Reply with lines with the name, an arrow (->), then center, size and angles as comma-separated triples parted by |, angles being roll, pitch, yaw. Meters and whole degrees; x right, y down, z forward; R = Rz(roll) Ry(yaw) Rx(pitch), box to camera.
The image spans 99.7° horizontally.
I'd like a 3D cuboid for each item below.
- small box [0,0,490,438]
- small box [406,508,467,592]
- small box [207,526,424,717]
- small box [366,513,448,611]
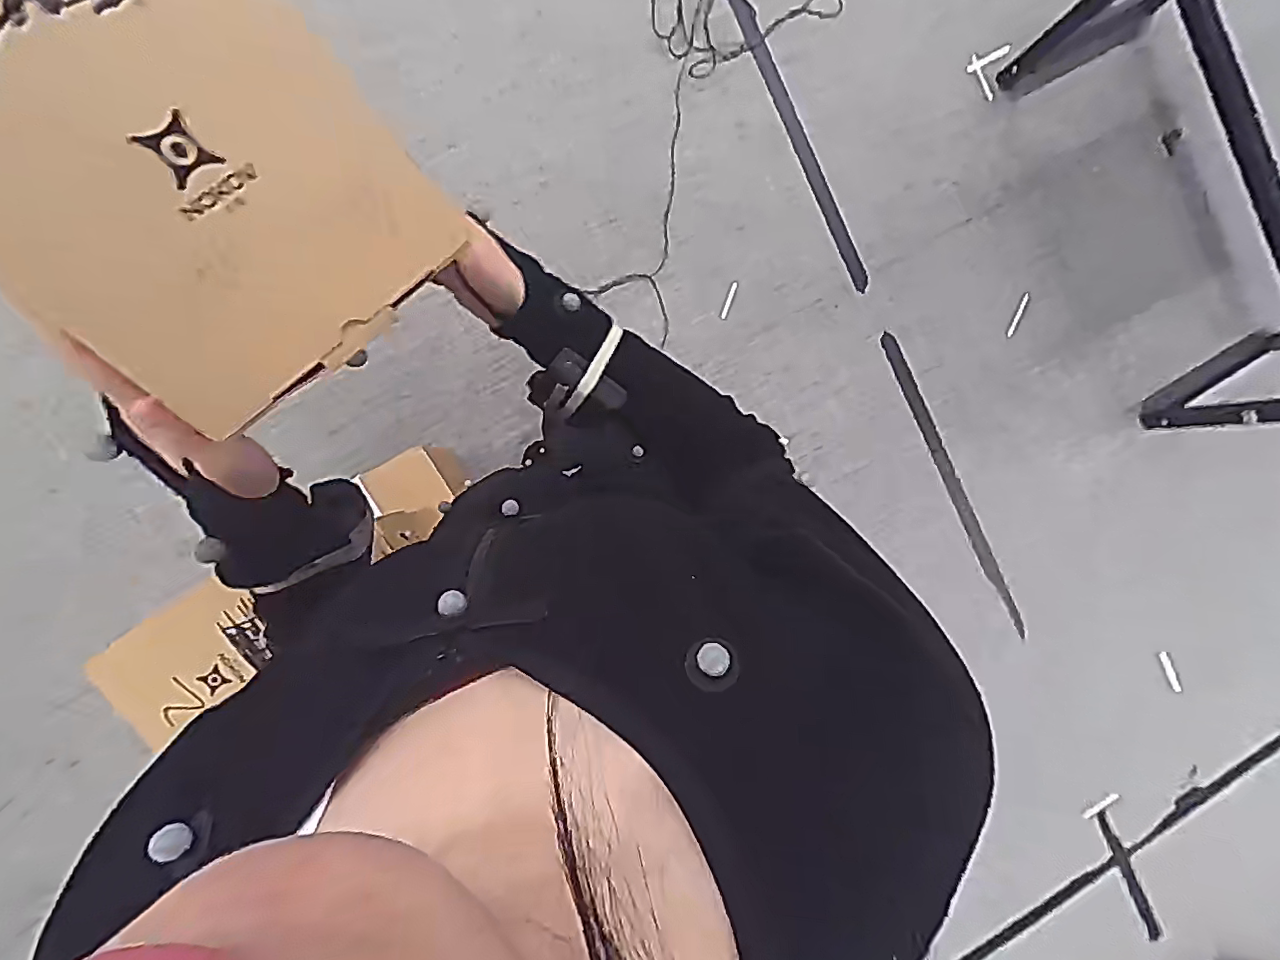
small box -> -0.222, -0.150, 0.304 | 0.168, 0.176, 0.179 | -47, 122, -16
small box -> -0.471, 0.171, 1.077 | 0.179, 0.176, 0.168 | -31, 96, -6
small box -> -0.426, 0.180, 0.753 | 0.179, 0.176, 0.168 | -37, 95, -5
small box -> -0.447, 0.170, 0.916 | 0.179, 0.176, 0.168 | -33, 95, -5
